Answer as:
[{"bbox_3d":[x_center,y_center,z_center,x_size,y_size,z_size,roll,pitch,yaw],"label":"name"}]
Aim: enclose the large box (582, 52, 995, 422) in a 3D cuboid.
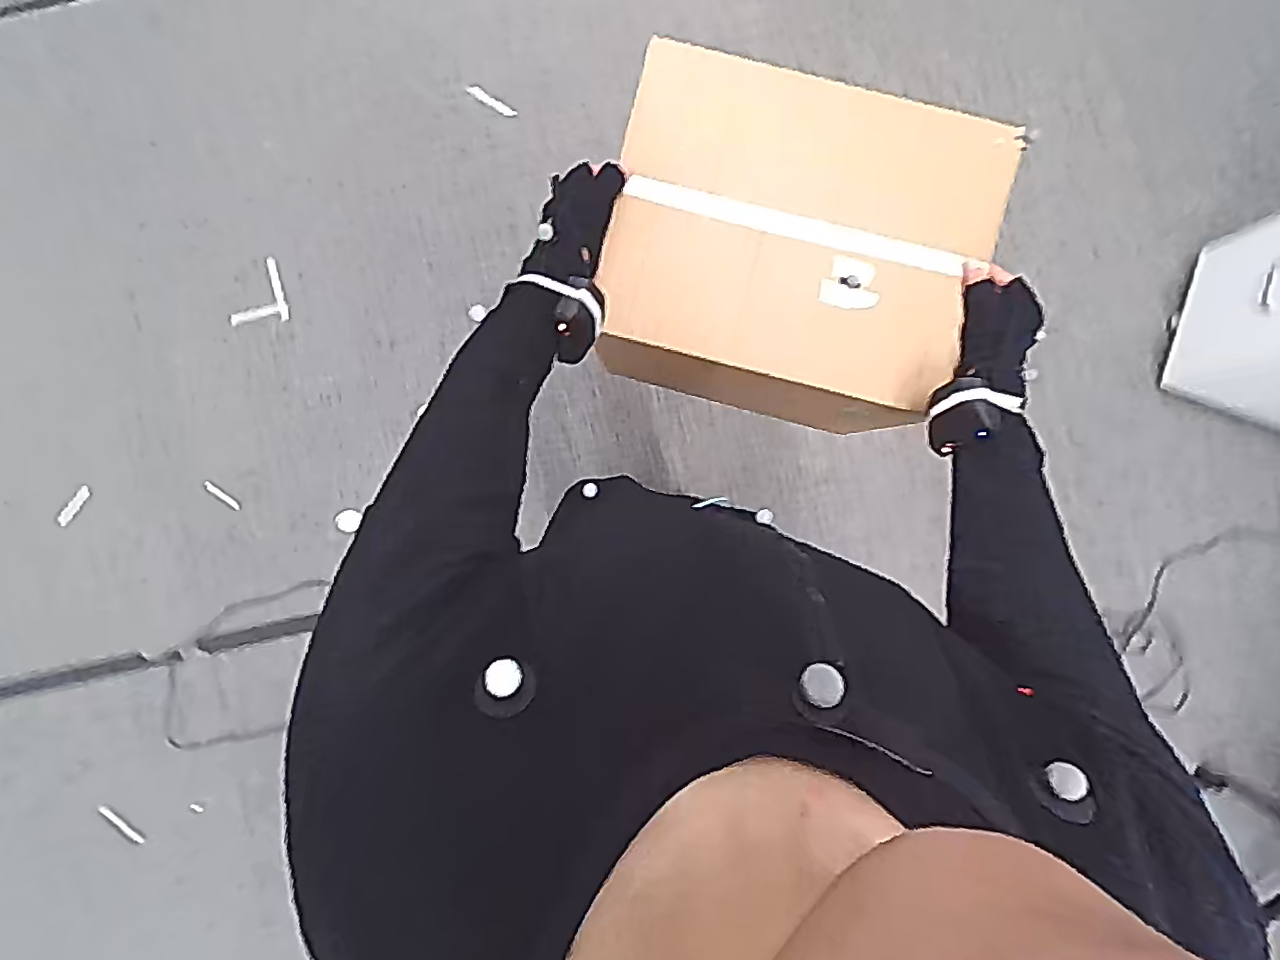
[{"bbox_3d":[0.158,-0.278,0.735,0.408,0.320,0.320,13,93,0],"label":"large box"}]
